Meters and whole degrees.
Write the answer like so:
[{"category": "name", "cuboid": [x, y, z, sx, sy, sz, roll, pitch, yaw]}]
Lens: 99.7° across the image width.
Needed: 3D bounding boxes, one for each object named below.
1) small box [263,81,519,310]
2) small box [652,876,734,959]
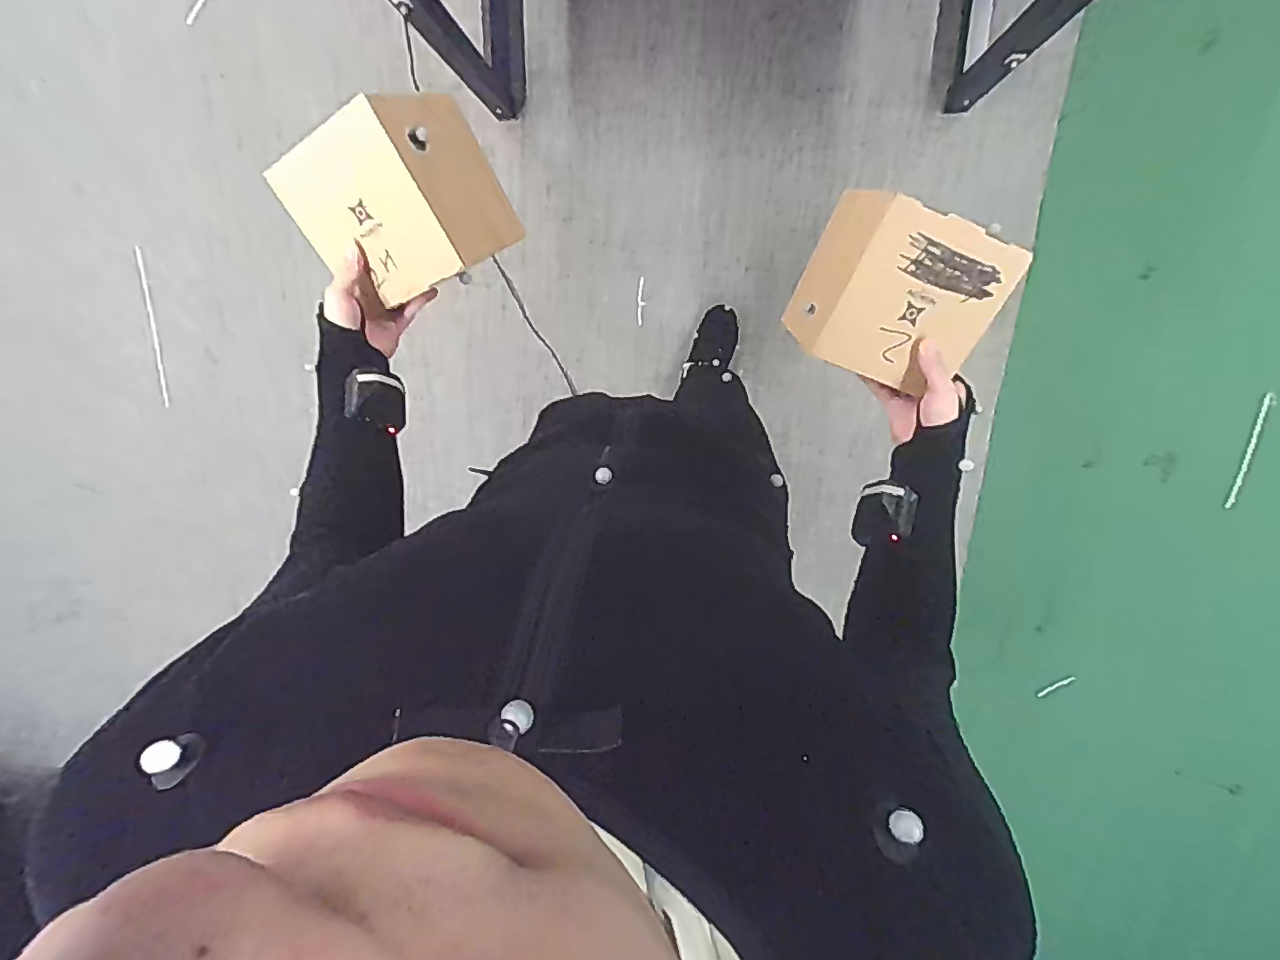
[{"category": "small box", "cuboid": [-0.277, -0.333, 0.642, 0.168, 0.176, 0.179, -14, 119, 25]}, {"category": "small box", "cuboid": [0.127, 1.109, 1.297, 0.168, 0.176, 0.179, 13, 105, 4]}]
